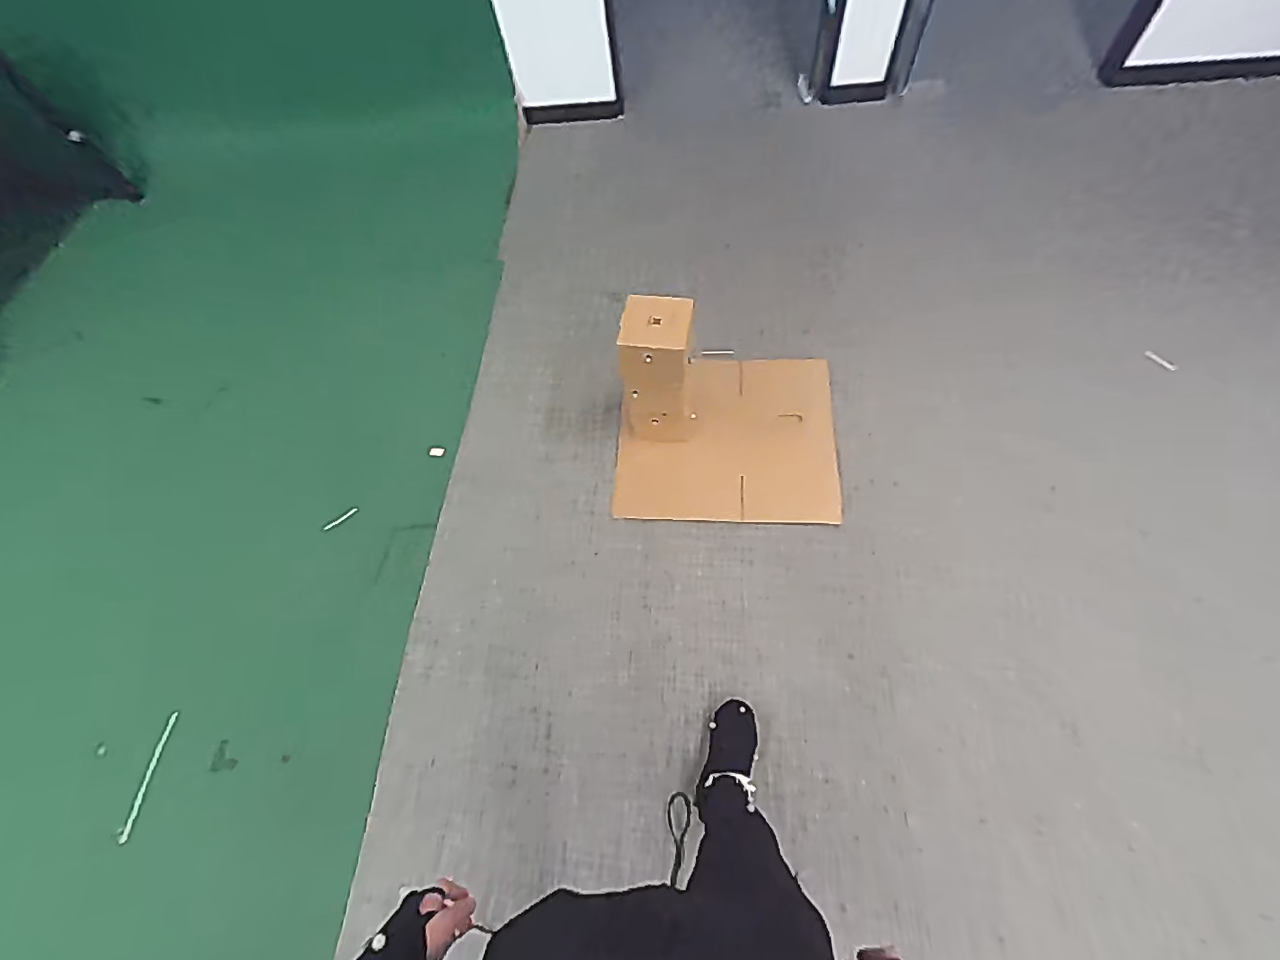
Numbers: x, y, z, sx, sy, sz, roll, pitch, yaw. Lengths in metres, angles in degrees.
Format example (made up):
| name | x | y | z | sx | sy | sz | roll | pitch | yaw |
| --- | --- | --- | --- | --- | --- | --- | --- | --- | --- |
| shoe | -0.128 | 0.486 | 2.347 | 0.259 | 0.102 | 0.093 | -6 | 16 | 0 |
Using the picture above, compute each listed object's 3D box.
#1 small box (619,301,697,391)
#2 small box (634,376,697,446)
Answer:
| name | x | y | z | sx | sy | sz | roll | pitch | yaw |
| --- | --- | --- | --- | --- | --- | --- | --- | --- | --- |
| small box | 0.054 | -0.352 | 1.436 | 0.179 | 0.176 | 0.168 | 7 | 66 | 10 |
| small box | 0.088 | -0.223 | 1.735 | 0.179 | 0.176 | 0.168 | 5 | 65 | 9 |
